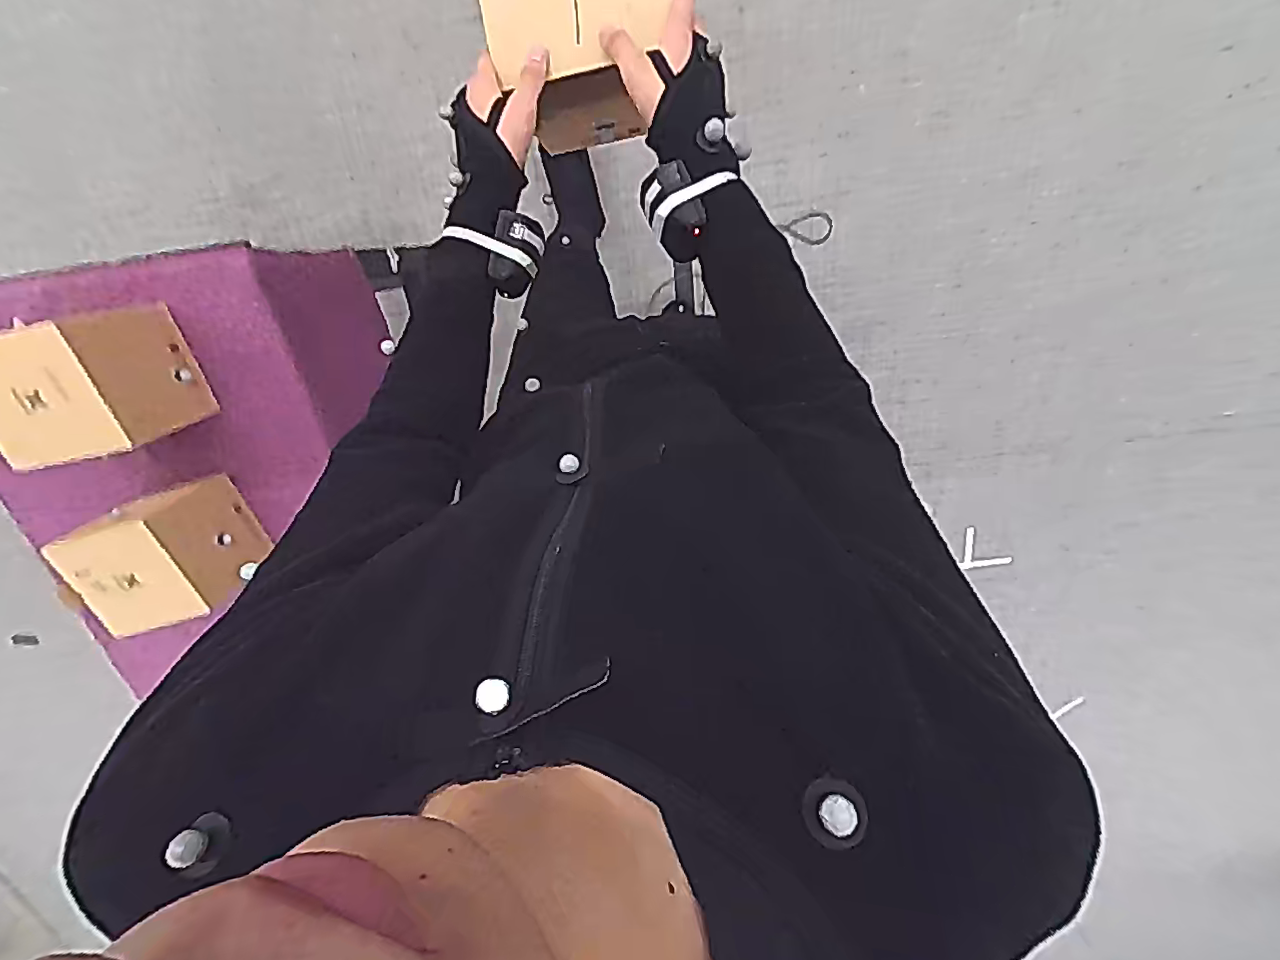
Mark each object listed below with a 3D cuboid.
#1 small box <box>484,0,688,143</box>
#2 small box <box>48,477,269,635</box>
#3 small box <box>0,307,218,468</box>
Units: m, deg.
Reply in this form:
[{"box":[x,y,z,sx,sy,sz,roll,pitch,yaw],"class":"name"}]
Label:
[{"box":[-0.046,-0.462,0.521,0.168,0.176,0.179,-6,104,10],"class":"small box"},{"box":[-0.742,0.114,0.865,0.179,0.176,0.168,-15,113,8],"class":"small box"},{"box":[-0.756,-0.134,0.752,0.179,0.176,0.168,-9,115,6],"class":"small box"}]
